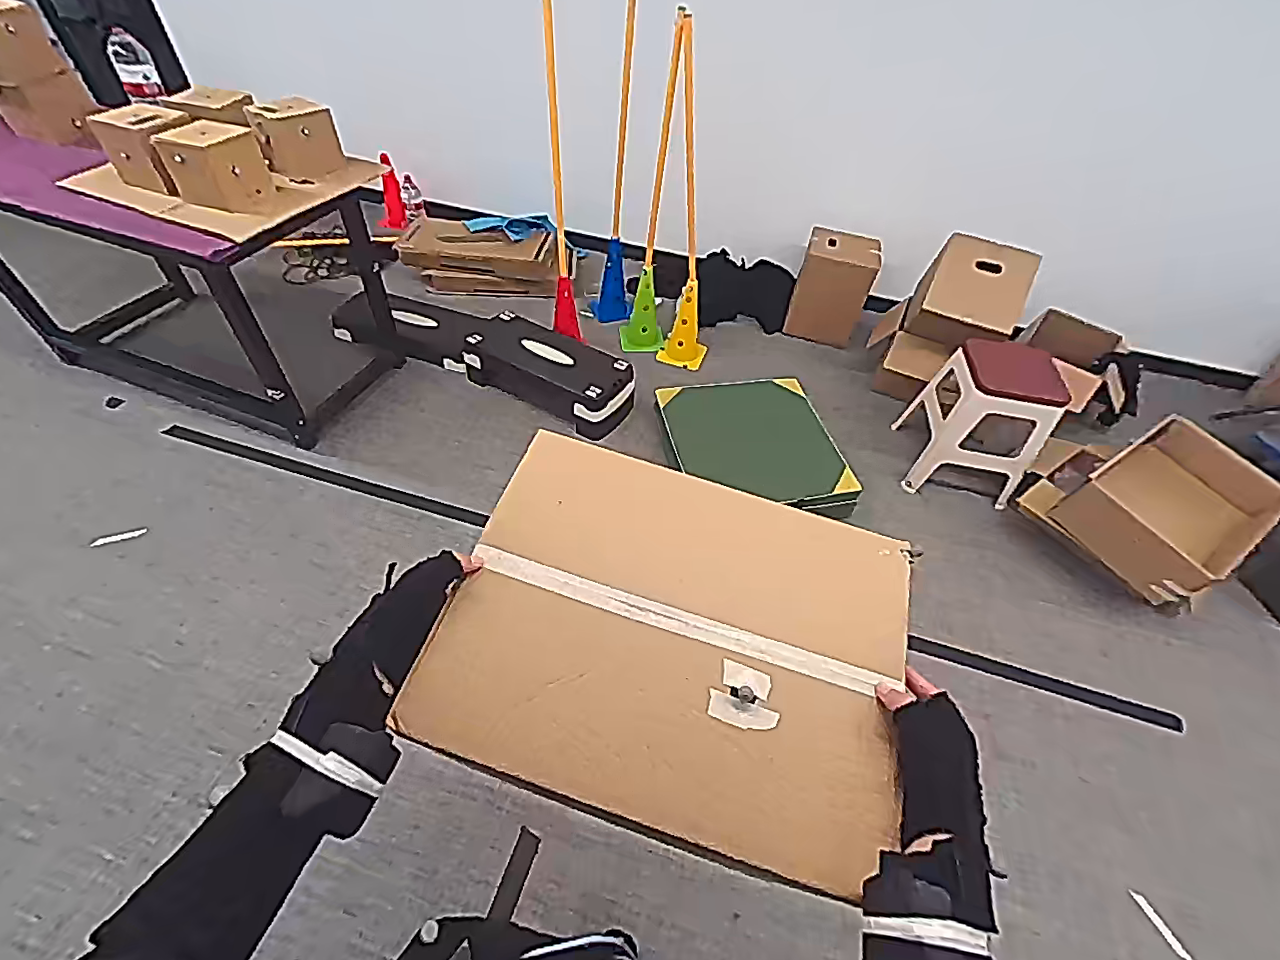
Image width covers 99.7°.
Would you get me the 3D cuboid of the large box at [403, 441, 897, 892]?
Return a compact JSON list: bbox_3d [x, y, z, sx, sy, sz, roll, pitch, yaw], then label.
[{"bbox_3d":[0.021,0.211,0.623,0.408,0.320,0.320,18,59,4],"label":"large box"}]
